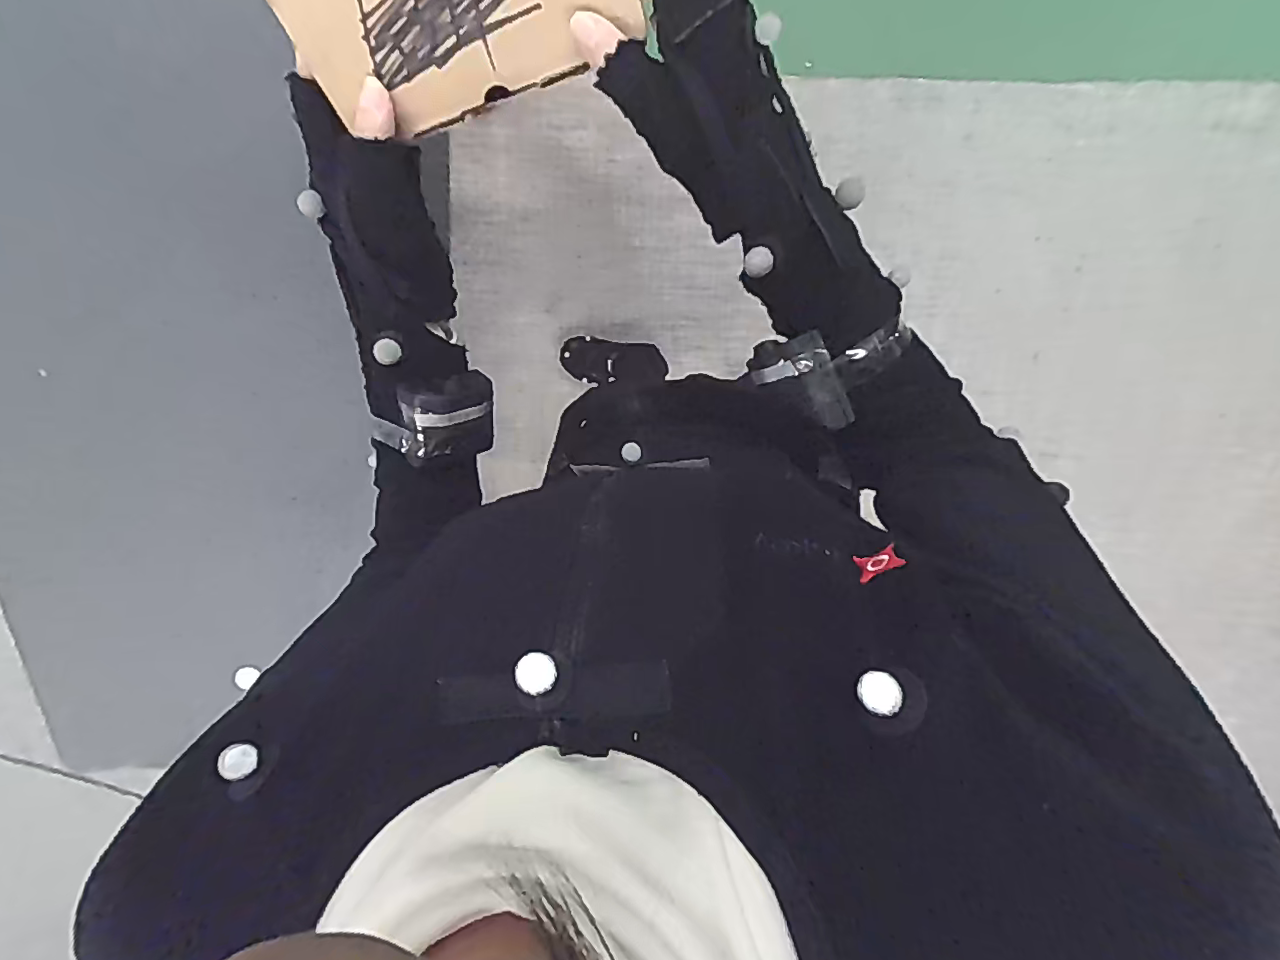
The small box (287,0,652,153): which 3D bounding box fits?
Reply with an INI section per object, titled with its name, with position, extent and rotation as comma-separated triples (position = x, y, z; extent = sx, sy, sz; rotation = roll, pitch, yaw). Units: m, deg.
[small box]
position = -0.092, -0.311, 0.281
extent = 0.168, 0.176, 0.179
rotation = -12, 135, 12
